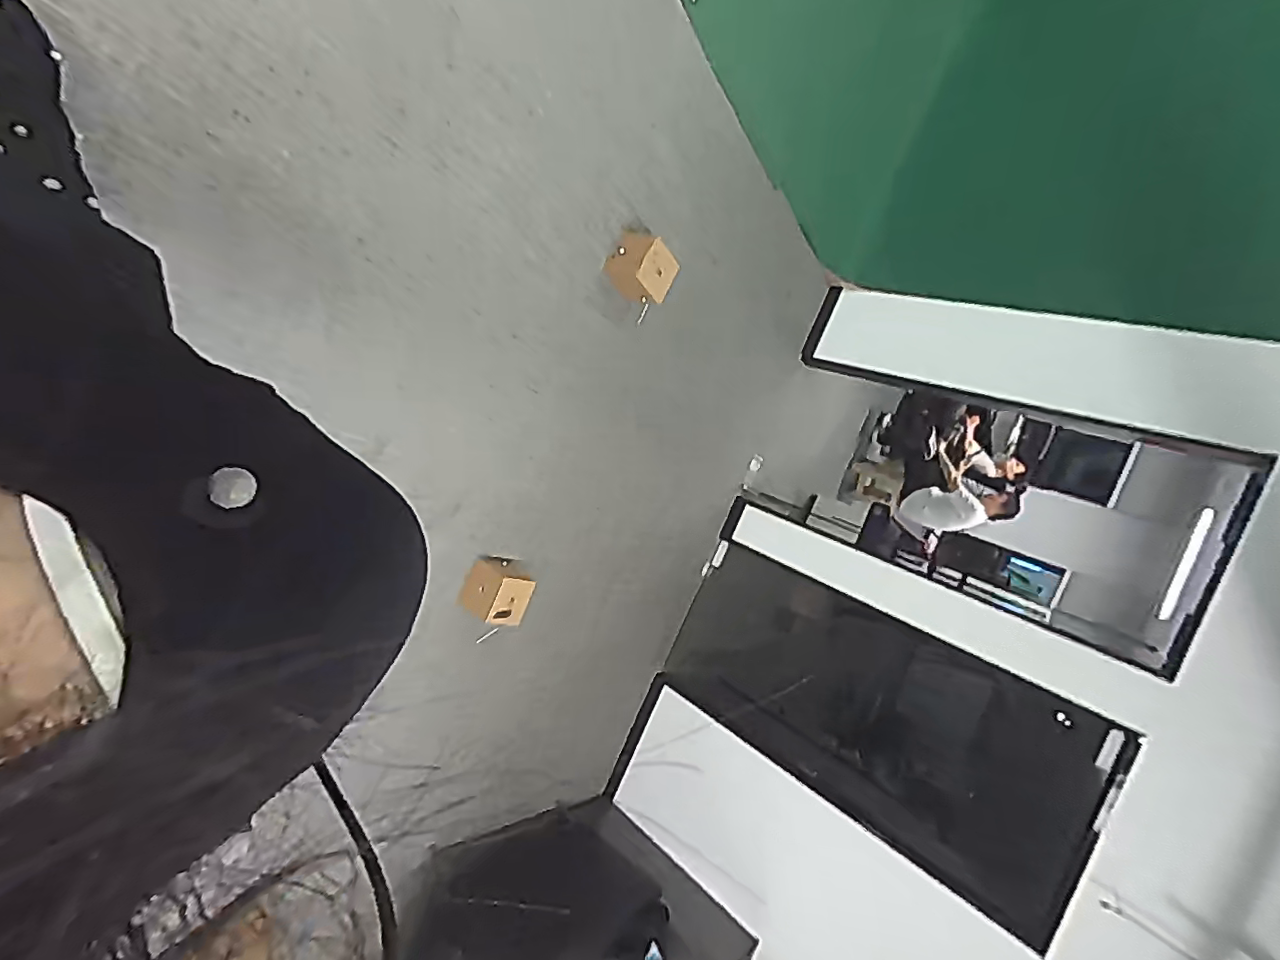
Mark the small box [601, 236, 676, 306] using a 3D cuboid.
[{"bbox_3d":[-0.005,-0.758,1.946,0.179,0.176,0.168,34,82,-54],"label":"small box"}]

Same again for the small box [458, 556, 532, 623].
[{"bbox_3d":[-0.533,0.398,1.968,0.168,0.176,0.179,26,89,-54],"label":"small box"}]
